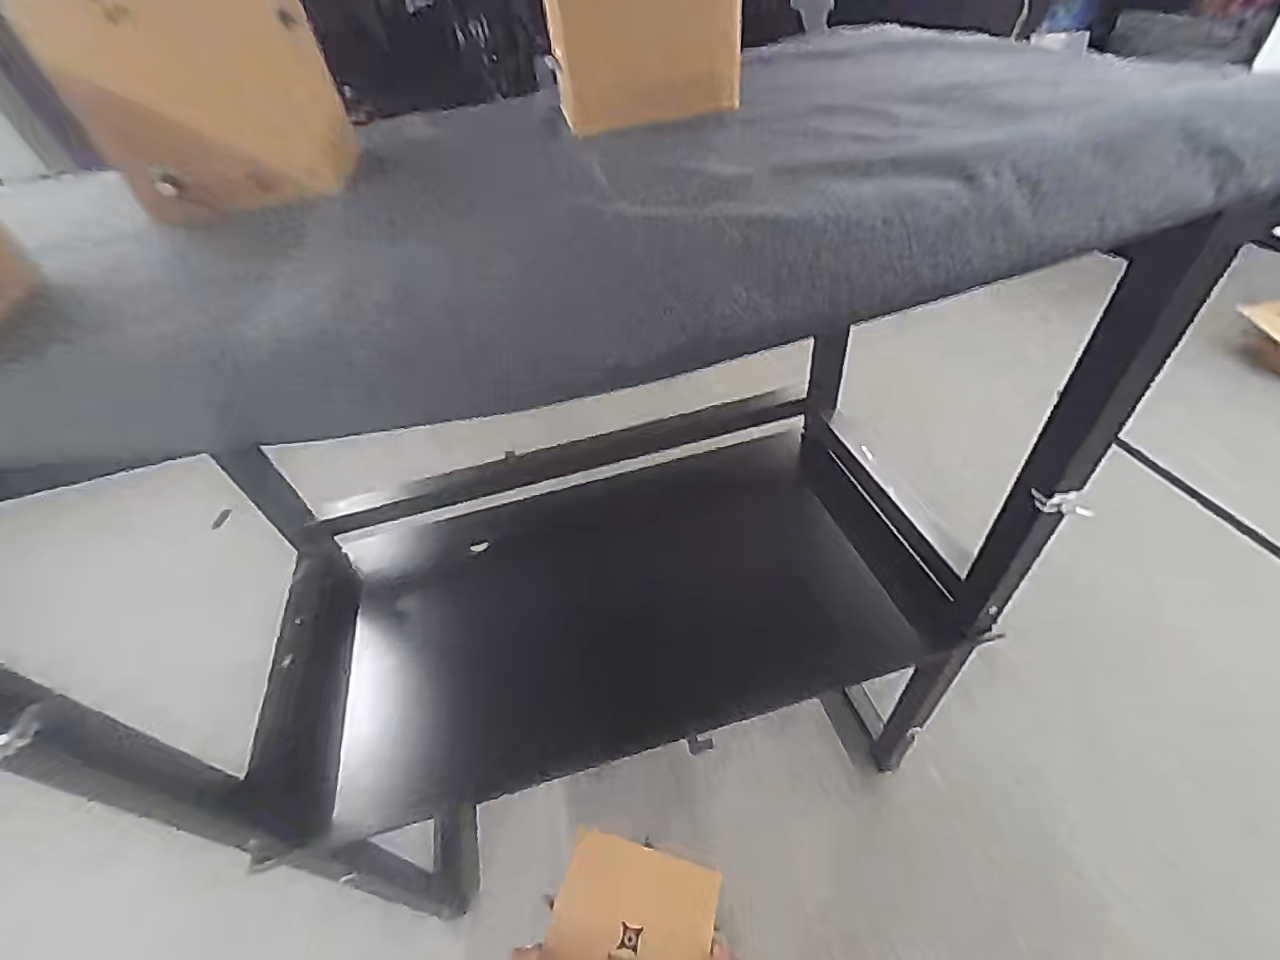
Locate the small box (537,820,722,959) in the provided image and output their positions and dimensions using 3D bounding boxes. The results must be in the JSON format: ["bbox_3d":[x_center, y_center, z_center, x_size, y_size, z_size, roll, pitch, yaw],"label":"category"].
[{"bbox_3d":[-0.017,0.502,0.599,0.168,0.176,0.179,14,57,6],"label":"small box"}]

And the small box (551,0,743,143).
[{"bbox_3d":[0.003,-0.477,0.564,0.179,0.176,0.168,-13,44,-3],"label":"small box"}]

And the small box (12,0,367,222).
[{"bbox_3d":[-0.380,-0.358,0.505,0.168,0.176,0.179,-15,44,-6],"label":"small box"}]
